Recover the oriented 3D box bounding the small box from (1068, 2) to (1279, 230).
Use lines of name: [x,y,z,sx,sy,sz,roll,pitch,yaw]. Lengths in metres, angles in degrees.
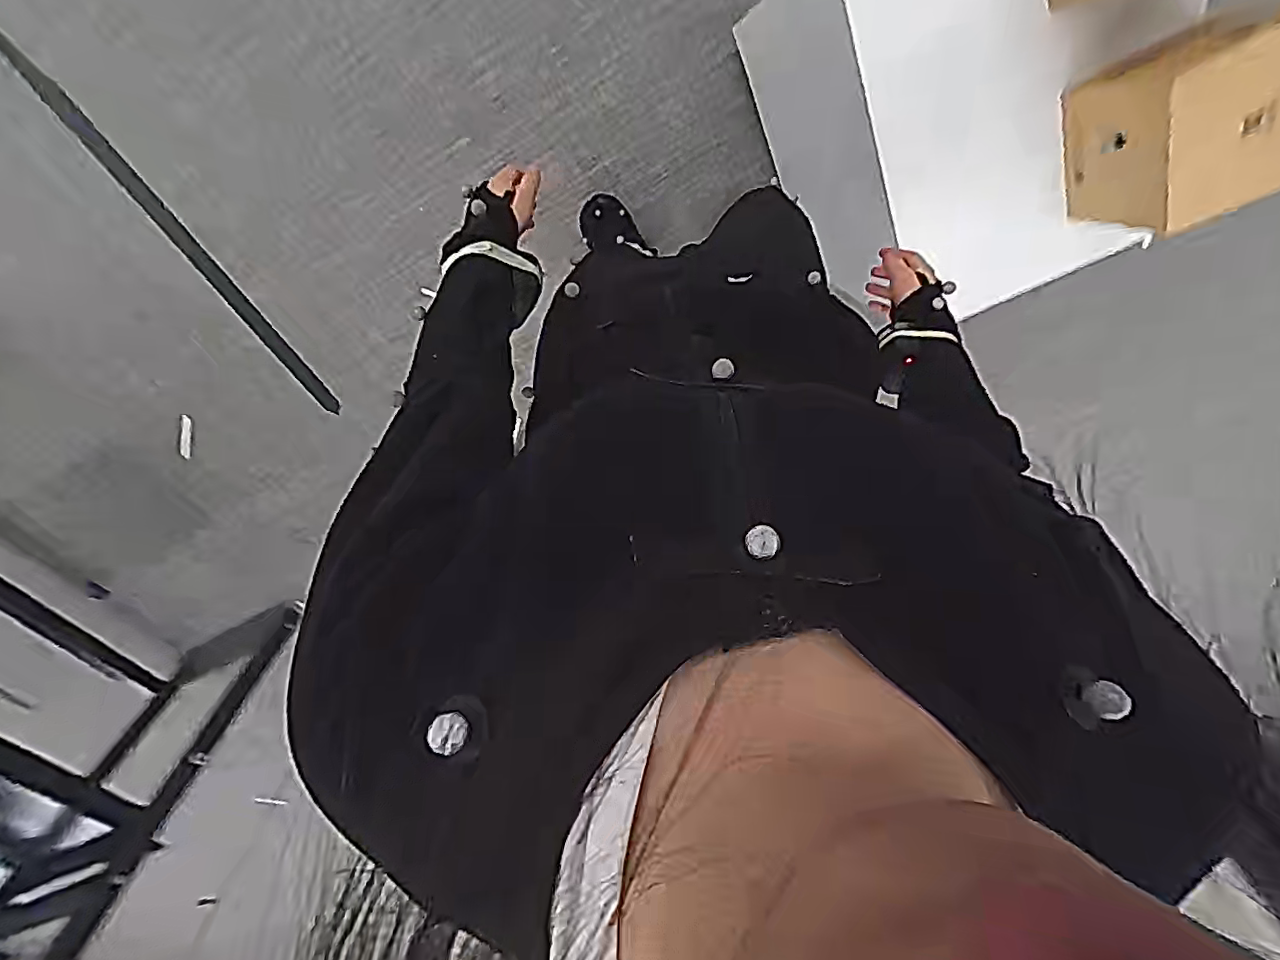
small box: [0.646,-0.421,0.638,0.179,0.176,0.168,-23,120,11]
